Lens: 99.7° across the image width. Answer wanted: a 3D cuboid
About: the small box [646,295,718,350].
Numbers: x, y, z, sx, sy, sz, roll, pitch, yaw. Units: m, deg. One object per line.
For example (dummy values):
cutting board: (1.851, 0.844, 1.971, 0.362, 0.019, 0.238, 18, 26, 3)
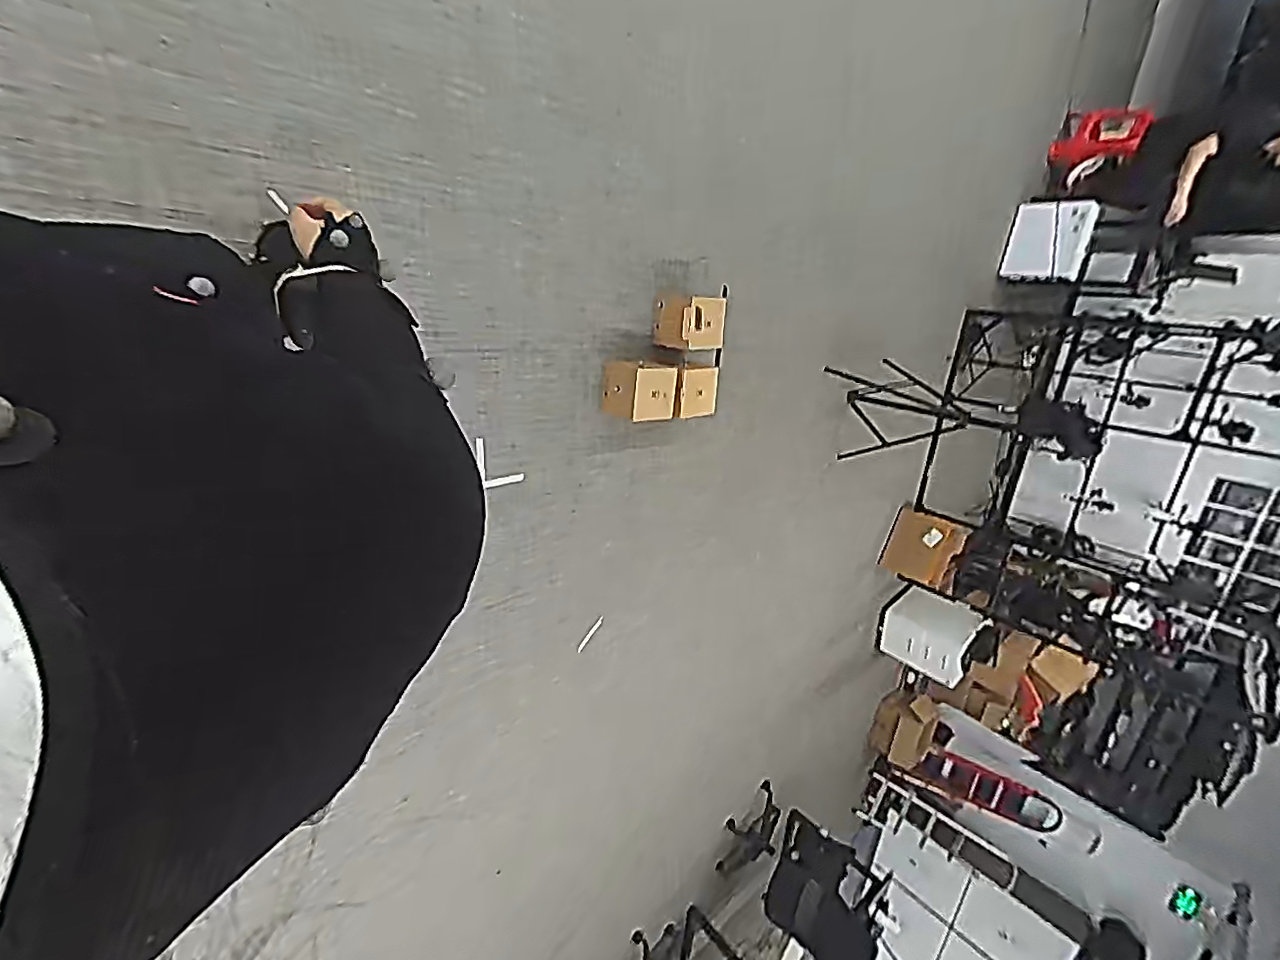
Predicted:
small box: (0.139, -0.535, 1.835, 0.179, 0.176, 0.168, -14, 117, -41)
